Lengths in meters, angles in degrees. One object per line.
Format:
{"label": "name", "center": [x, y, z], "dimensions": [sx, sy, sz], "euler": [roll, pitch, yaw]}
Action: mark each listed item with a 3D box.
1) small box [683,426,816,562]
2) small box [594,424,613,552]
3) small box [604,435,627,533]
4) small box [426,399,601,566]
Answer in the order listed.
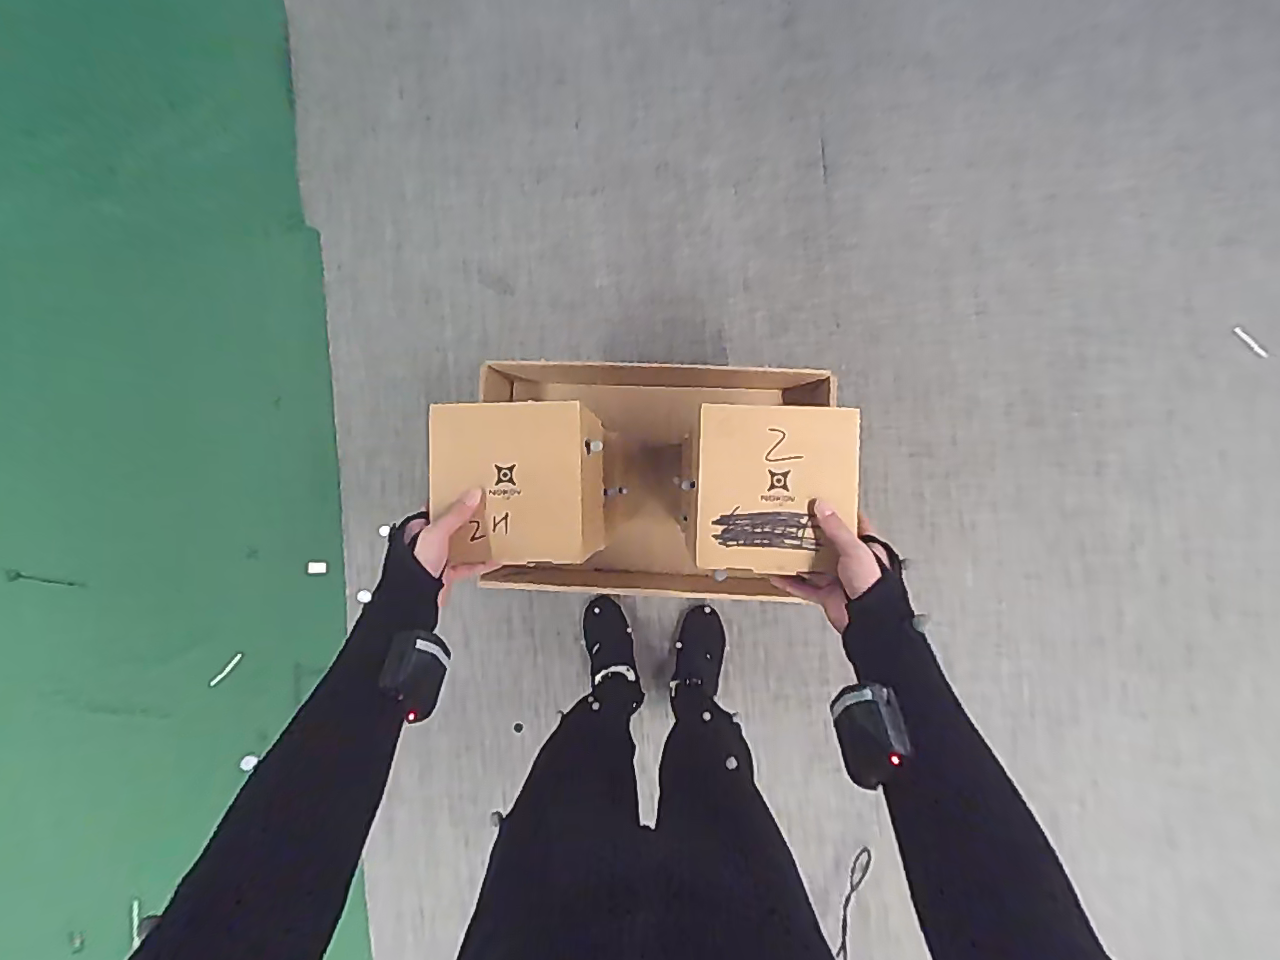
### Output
{"label": "small box", "center": [0.151, 0.020, 0.792], "dimensions": [0.168, 0.176, 0.179], "euler": [2, 88, 3]}
{"label": "small box", "center": [-0.131, 0.016, 0.813], "dimensions": [0.168, 0.176, 0.179], "euler": [-1, 88, 3]}
{"label": "small box", "center": [-0.118, 0.009, 0.975], "dimensions": [0.179, 0.176, 0.168], "euler": [0, 88, 2]}
{"label": "small box", "center": [-0.139, 0.005, 0.648], "dimensions": [0.168, 0.176, 0.179], "euler": [0, 89, 3]}
